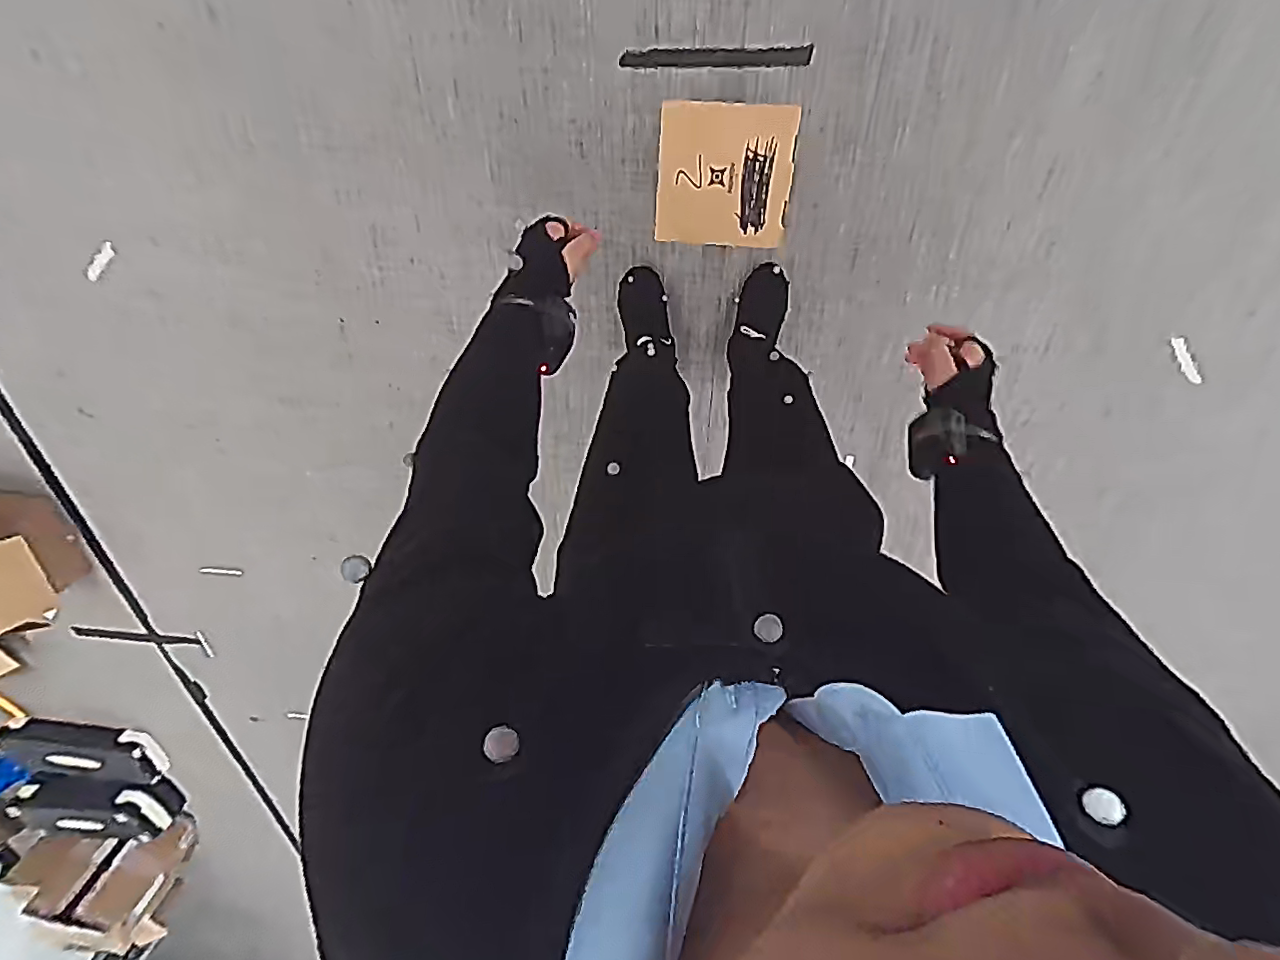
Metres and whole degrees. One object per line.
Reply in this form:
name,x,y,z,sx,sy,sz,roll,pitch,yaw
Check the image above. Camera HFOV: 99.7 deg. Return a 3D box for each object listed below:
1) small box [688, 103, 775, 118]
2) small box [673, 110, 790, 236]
small box,0.168,-0.613,1.044,0.168,0.176,0.179,6,122,2
small box,0.148,-0.519,0.913,0.179,0.176,0.168,-1,122,7
